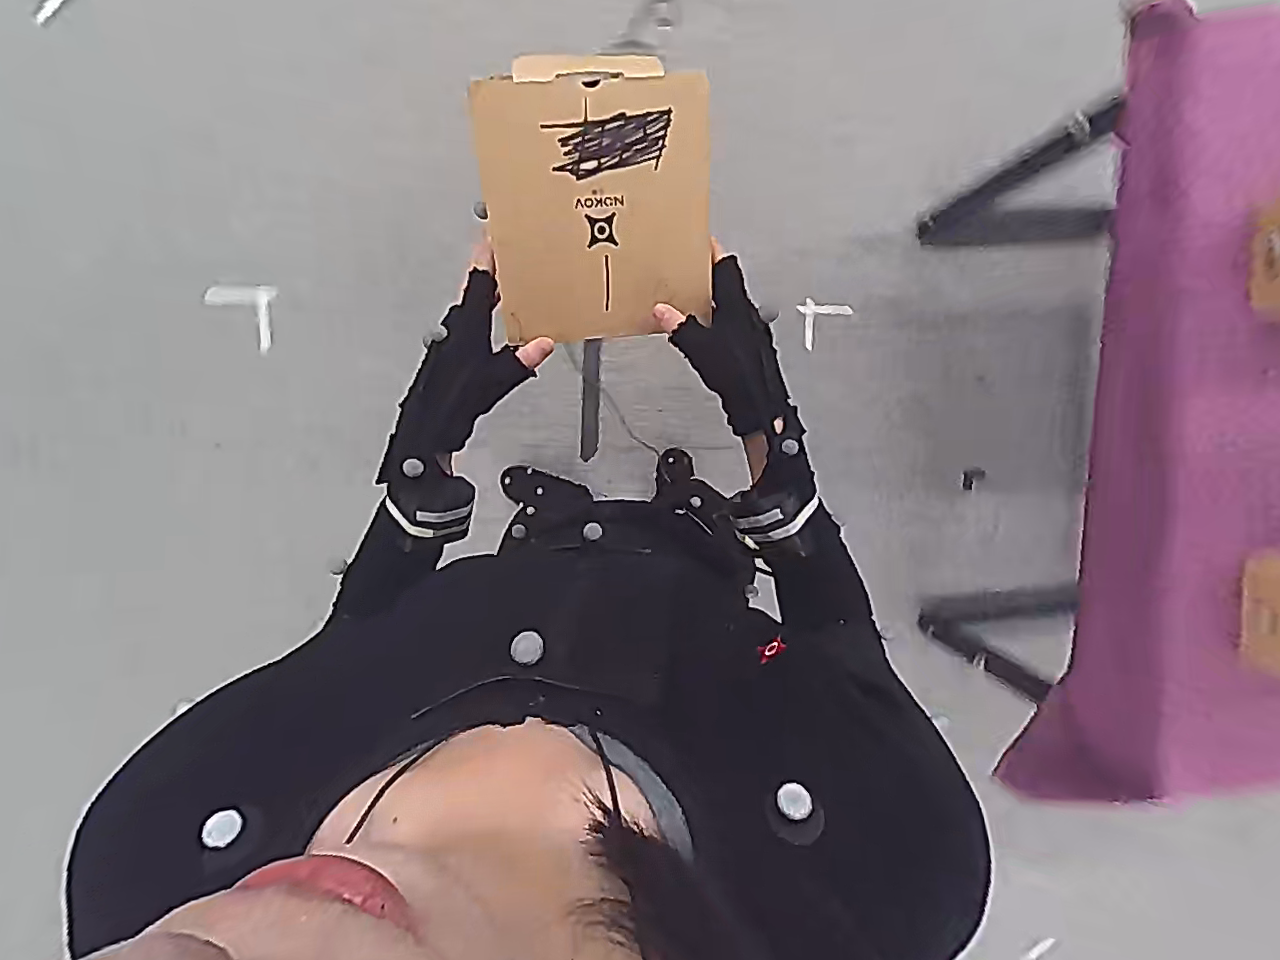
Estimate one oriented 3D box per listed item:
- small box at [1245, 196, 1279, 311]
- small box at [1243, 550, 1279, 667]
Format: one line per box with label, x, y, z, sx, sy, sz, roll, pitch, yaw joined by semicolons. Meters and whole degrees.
small box;1.006;-0.335;0.738;0.179;0.176;0.168;-5;95;-3
small box;1.052;0.203;0.791;0.168;0.176;0.179;-6;96;-4
